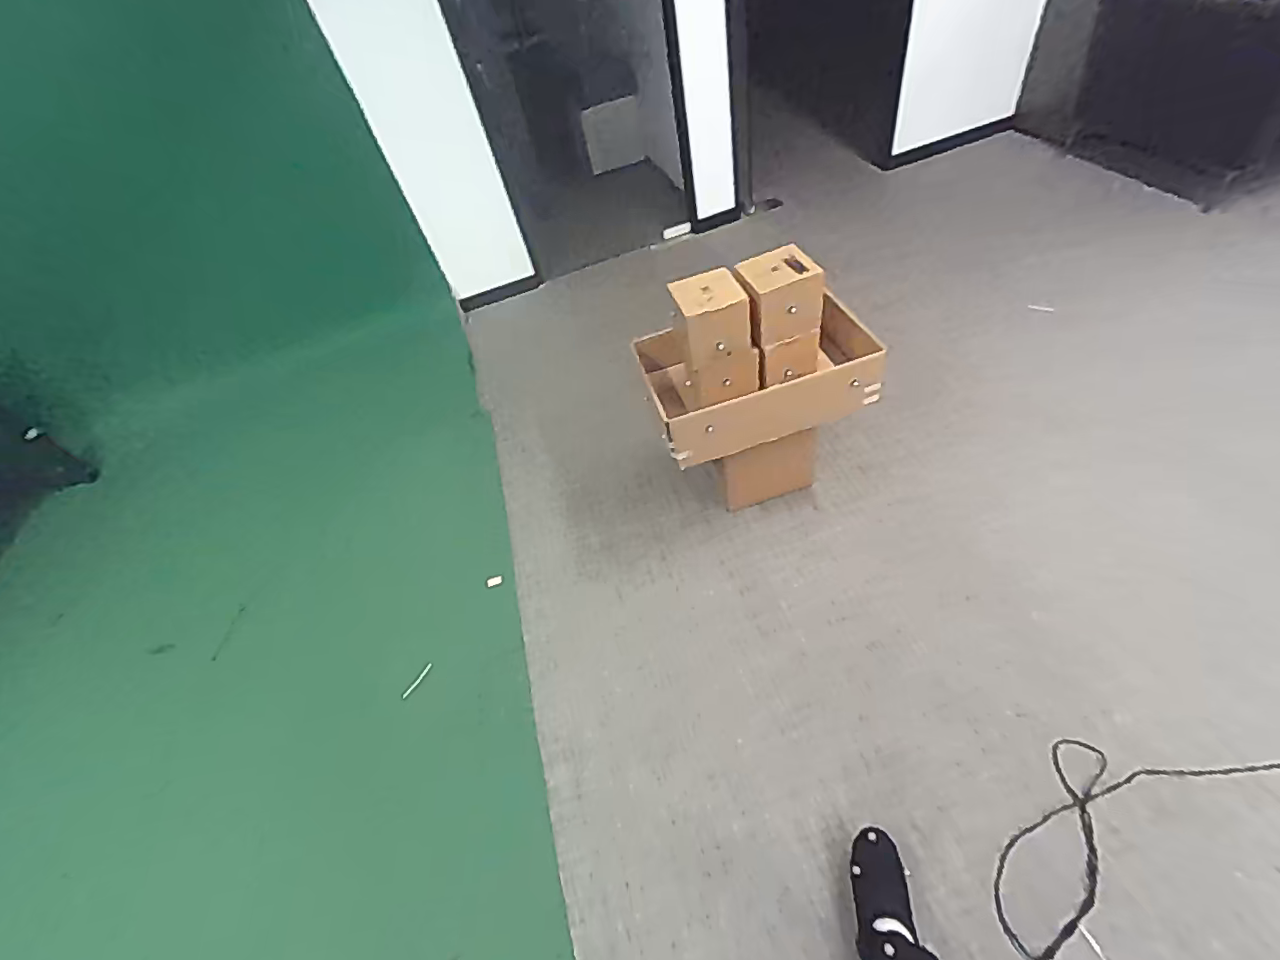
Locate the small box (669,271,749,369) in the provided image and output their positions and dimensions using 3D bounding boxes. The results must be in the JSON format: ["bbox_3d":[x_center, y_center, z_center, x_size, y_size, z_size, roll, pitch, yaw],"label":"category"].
[{"bbox_3d":[0.184,-0.426,1.446,0.168,0.176,0.179,-17,48,-1],"label":"small box"}]
